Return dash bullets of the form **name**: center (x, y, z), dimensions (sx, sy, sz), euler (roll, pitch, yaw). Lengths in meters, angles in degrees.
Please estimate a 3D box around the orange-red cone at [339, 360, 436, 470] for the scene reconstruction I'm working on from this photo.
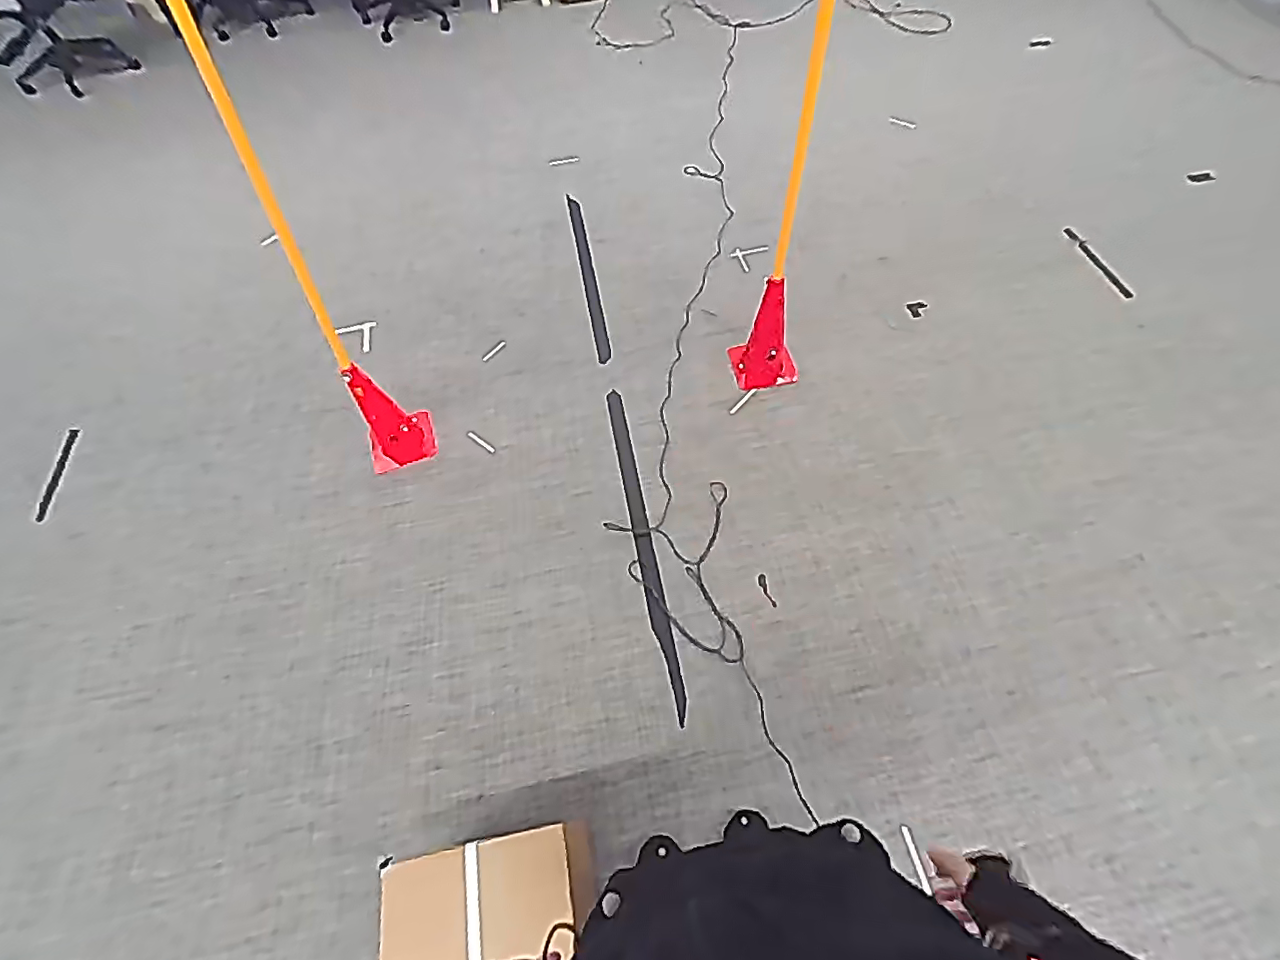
- **orange-red cone**: center (-0.777, -0.217, 1.596), dimensions (0.199, 0.360, 0.198), euler (-20, 59, -6)
